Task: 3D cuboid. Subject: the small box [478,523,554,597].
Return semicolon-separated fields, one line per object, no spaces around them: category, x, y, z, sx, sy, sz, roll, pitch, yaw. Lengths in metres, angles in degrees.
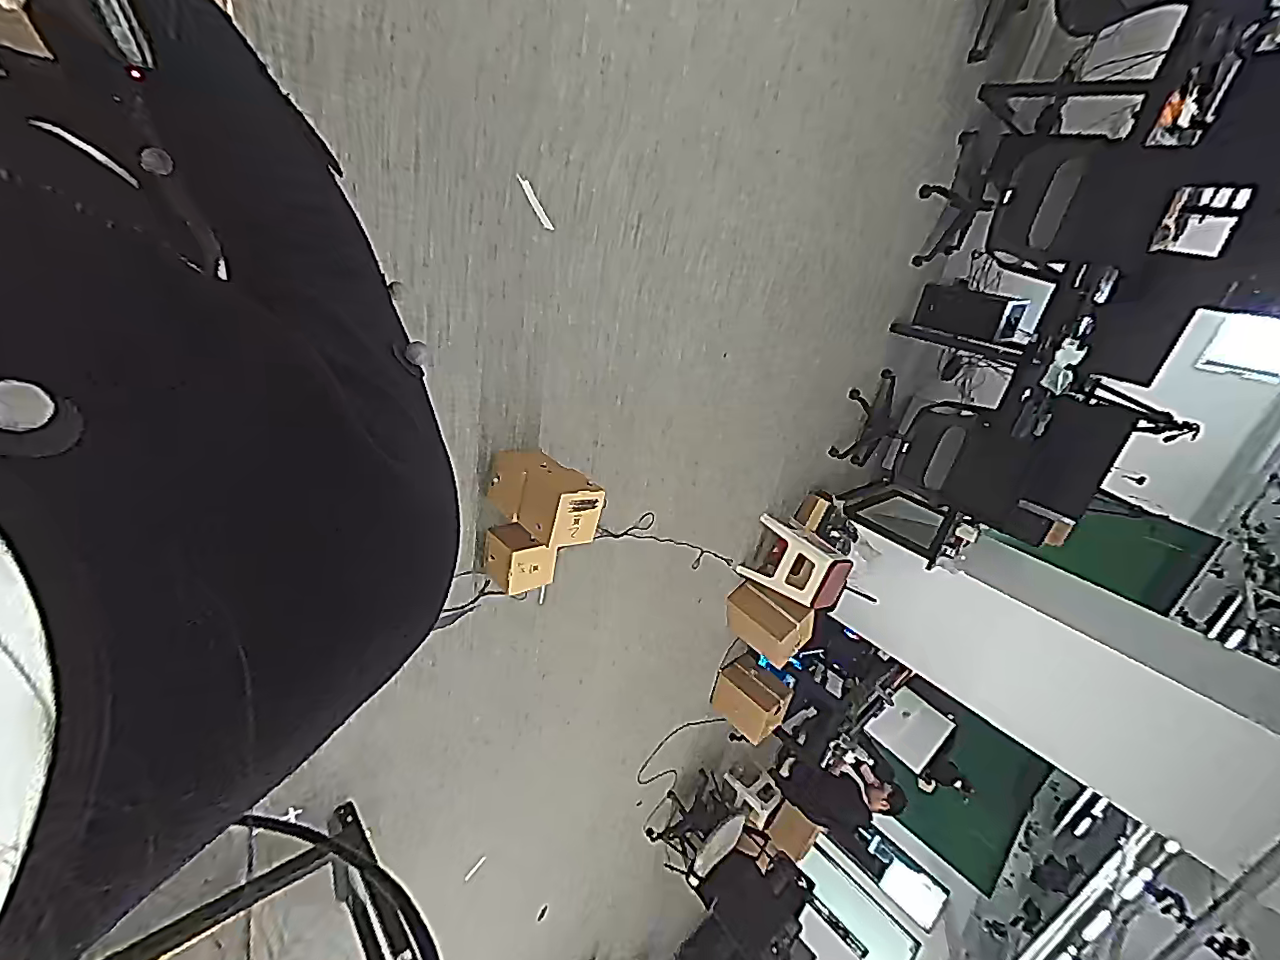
small box;-0.412;0.257;1.797;0.179;0.176;0.168;-9;119;-43

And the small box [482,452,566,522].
small box;-0.365;0.017;1.693;0.179;0.176;0.168;-2;115;-45
